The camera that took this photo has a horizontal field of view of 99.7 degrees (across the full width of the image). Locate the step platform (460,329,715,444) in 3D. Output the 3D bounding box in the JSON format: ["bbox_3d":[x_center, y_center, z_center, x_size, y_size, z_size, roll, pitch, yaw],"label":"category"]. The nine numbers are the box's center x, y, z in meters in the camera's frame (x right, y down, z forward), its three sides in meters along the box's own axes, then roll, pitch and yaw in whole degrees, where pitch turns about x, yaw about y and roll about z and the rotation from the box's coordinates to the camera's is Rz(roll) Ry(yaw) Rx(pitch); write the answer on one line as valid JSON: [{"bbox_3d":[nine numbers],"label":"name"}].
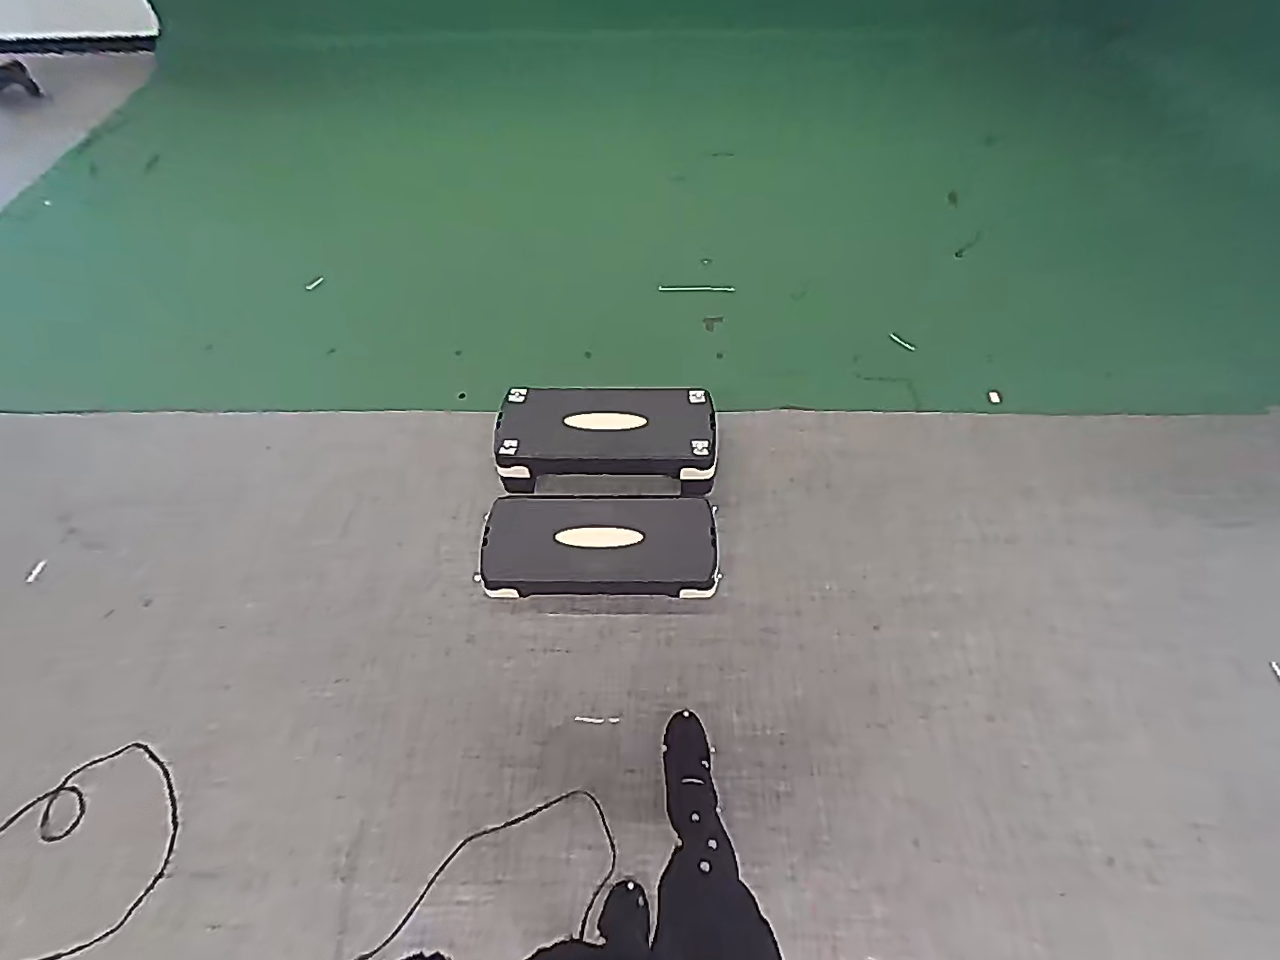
[{"bbox_3d":[-0.137,-0.262,1.538,0.684,0.204,0.286,0,58,2],"label":"step platform"}]
